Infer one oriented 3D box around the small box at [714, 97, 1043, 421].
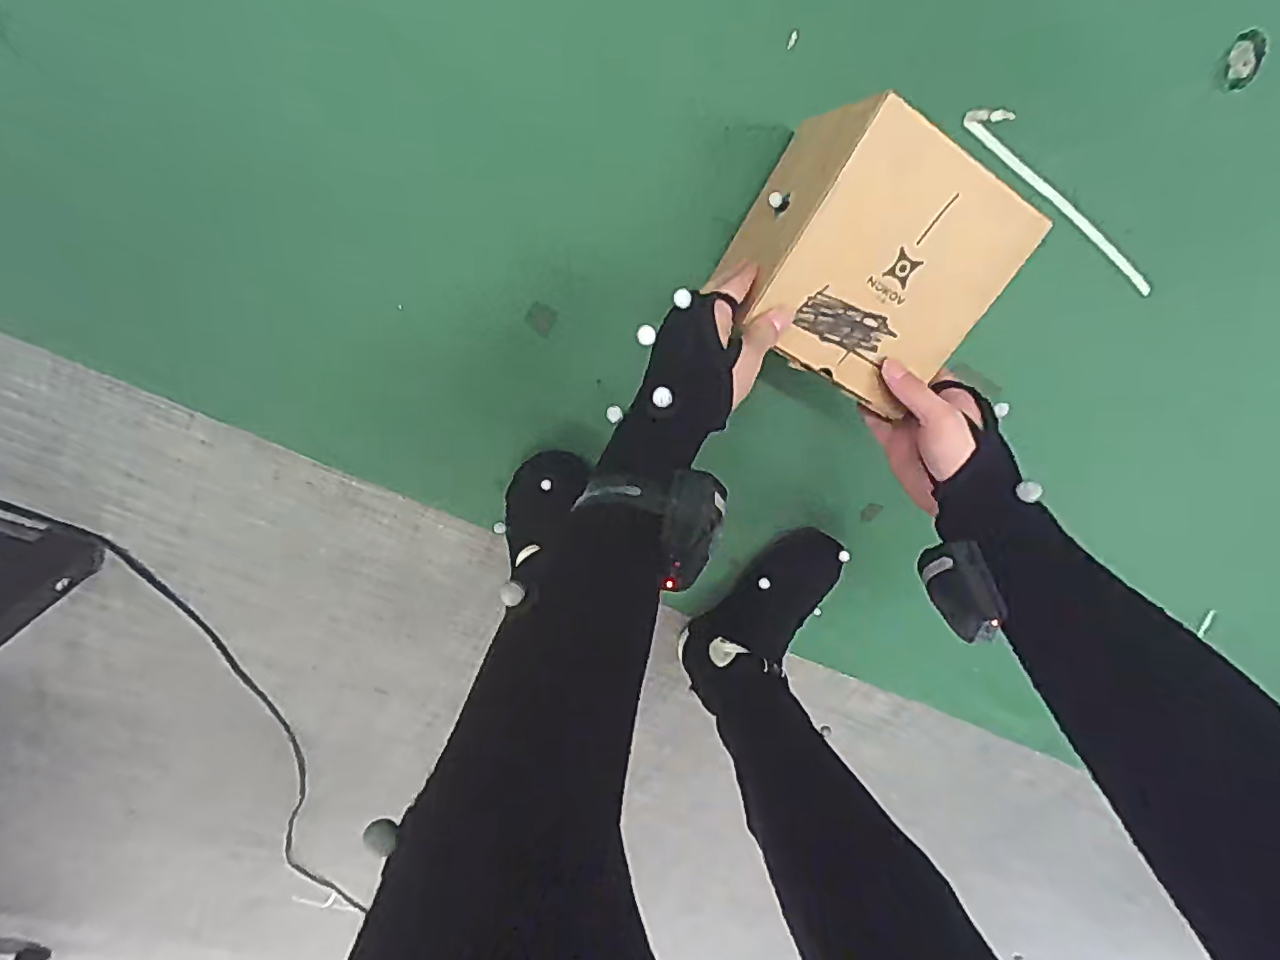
[{"bbox_3d":[0.181,-0.186,0.478,0.168,0.176,0.179,25,112,-17],"label":"small box"}]
